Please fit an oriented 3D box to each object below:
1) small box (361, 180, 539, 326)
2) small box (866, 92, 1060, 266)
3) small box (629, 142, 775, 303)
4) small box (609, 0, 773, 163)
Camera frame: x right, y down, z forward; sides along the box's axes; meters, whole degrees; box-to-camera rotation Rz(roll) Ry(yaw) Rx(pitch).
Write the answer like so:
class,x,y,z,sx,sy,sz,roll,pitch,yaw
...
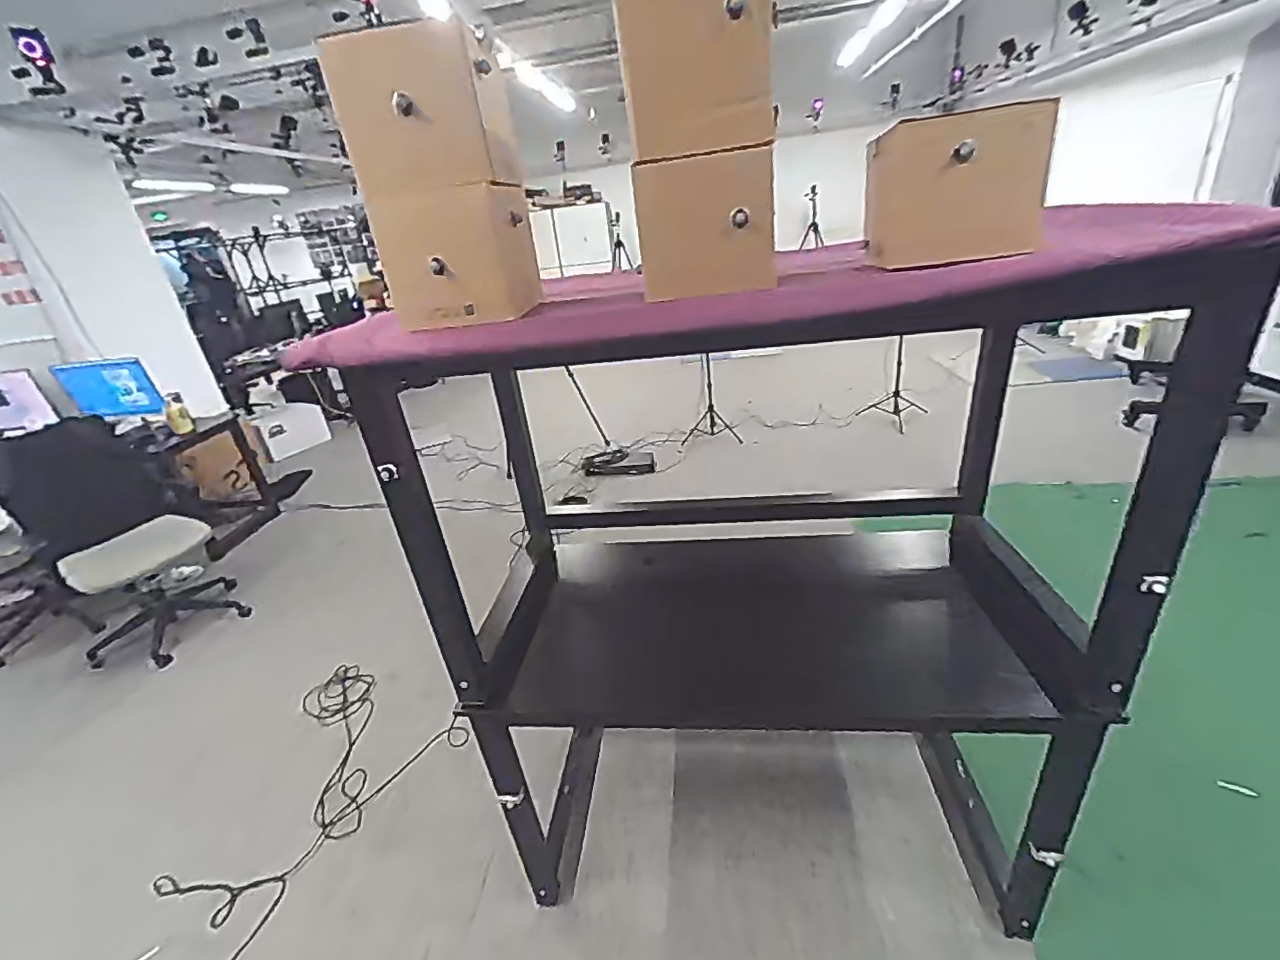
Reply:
class,x,y,z,sx,sy,sz,roll,pitch,yaw
small box,-0.252,-0.321,0.770,0.168,0.176,0.179,-3,27,6
small box,0.409,-0.385,0.721,0.179,0.176,0.168,-3,24,10
small box,0.089,-0.351,0.749,0.179,0.176,0.168,-5,25,8
small box,0.067,-0.498,0.681,0.179,0.176,0.168,-5,26,6
